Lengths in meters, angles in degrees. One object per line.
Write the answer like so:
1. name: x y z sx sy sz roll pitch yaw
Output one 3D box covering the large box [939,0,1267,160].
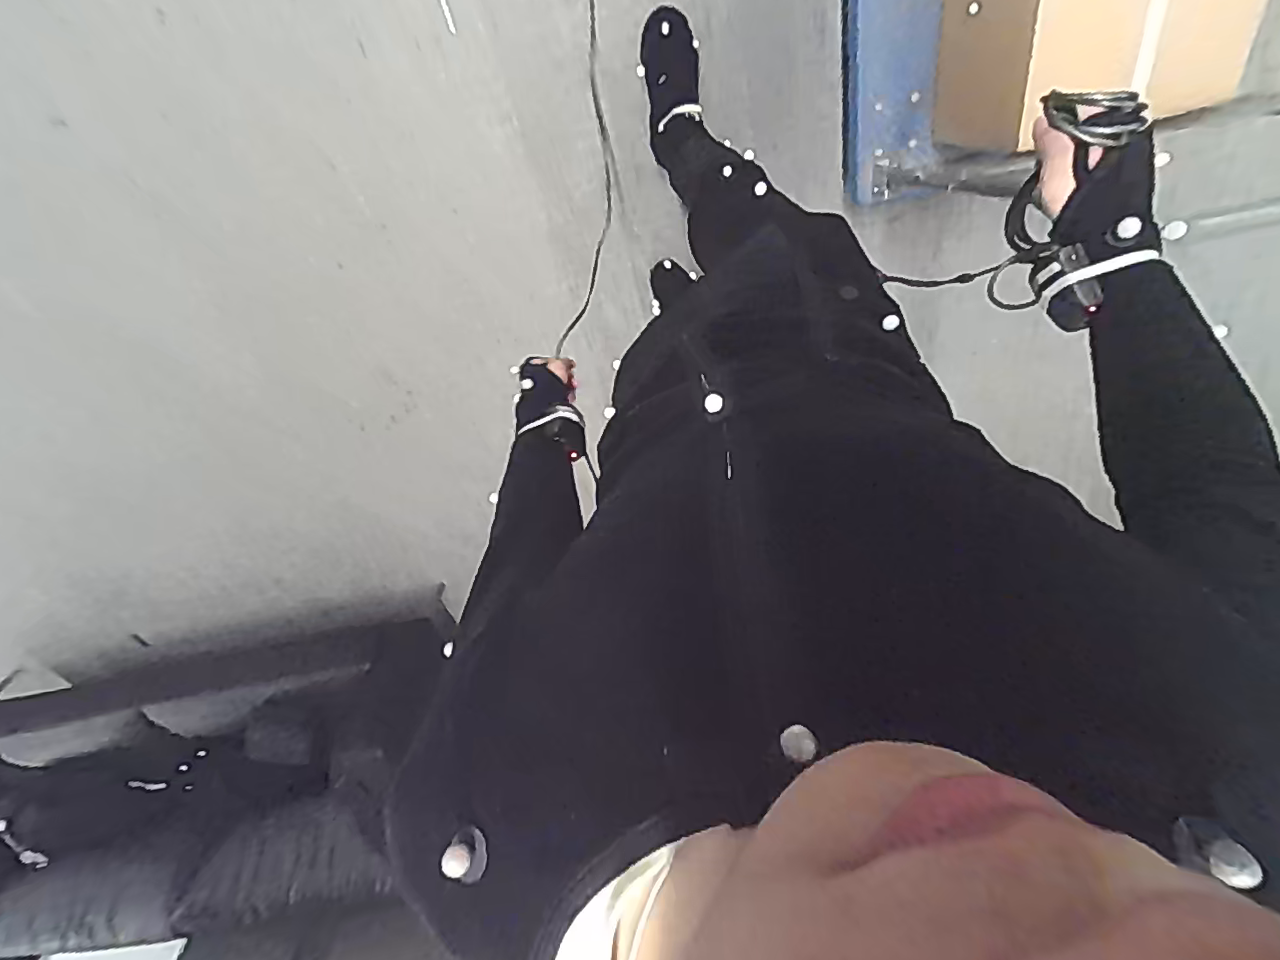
1. large box: 0.707 -0.777 0.854 0.320 0.320 0.408 -10 123 7
